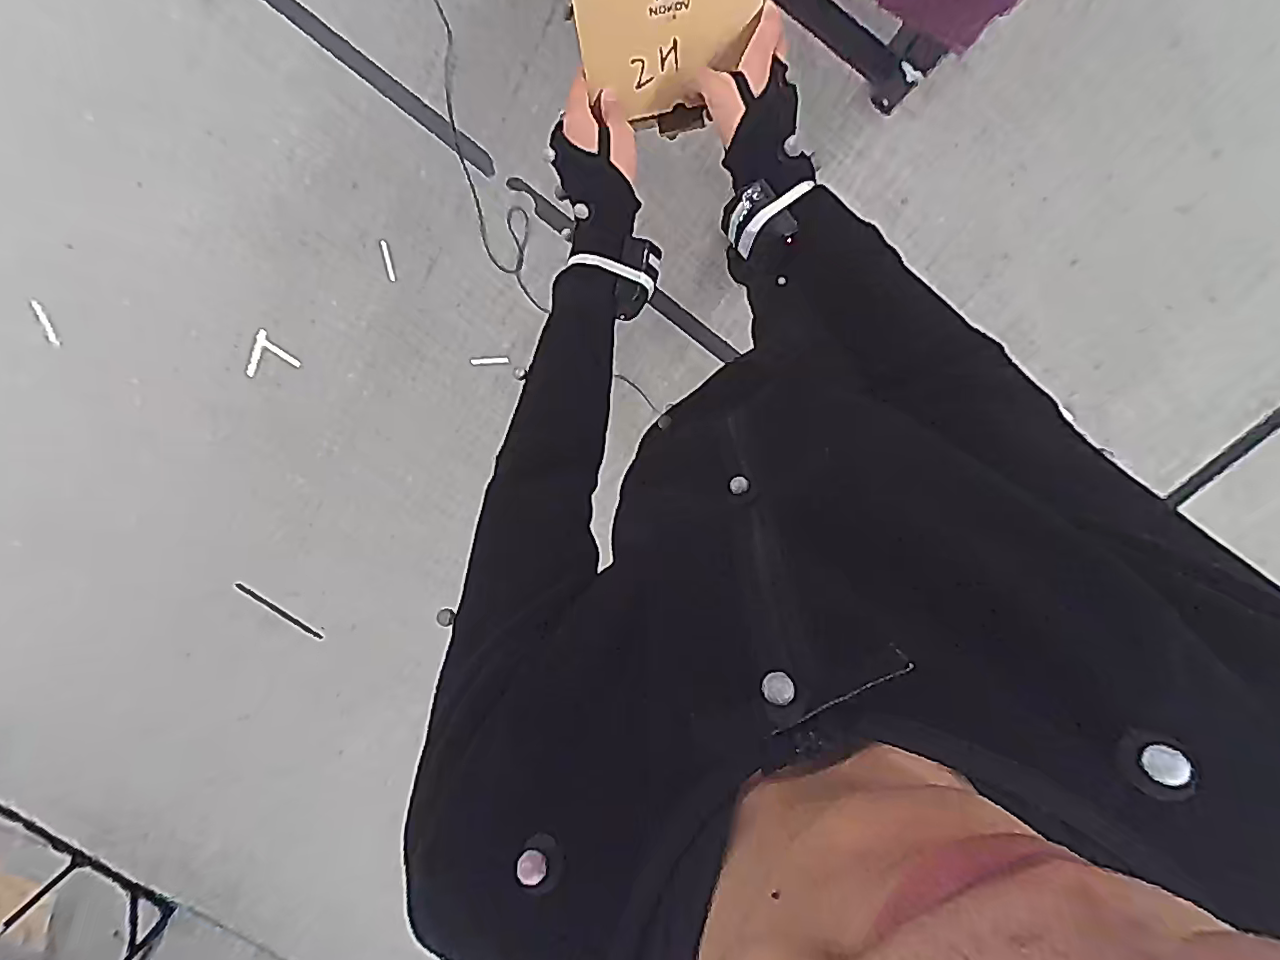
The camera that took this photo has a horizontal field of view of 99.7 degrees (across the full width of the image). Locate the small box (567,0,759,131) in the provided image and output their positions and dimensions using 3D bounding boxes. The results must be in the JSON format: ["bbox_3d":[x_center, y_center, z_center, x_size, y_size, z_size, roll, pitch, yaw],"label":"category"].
[{"bbox_3d":[0.014,-0.464,0.531,0.168,0.176,0.179,-9,119,4],"label":"small box"}]
